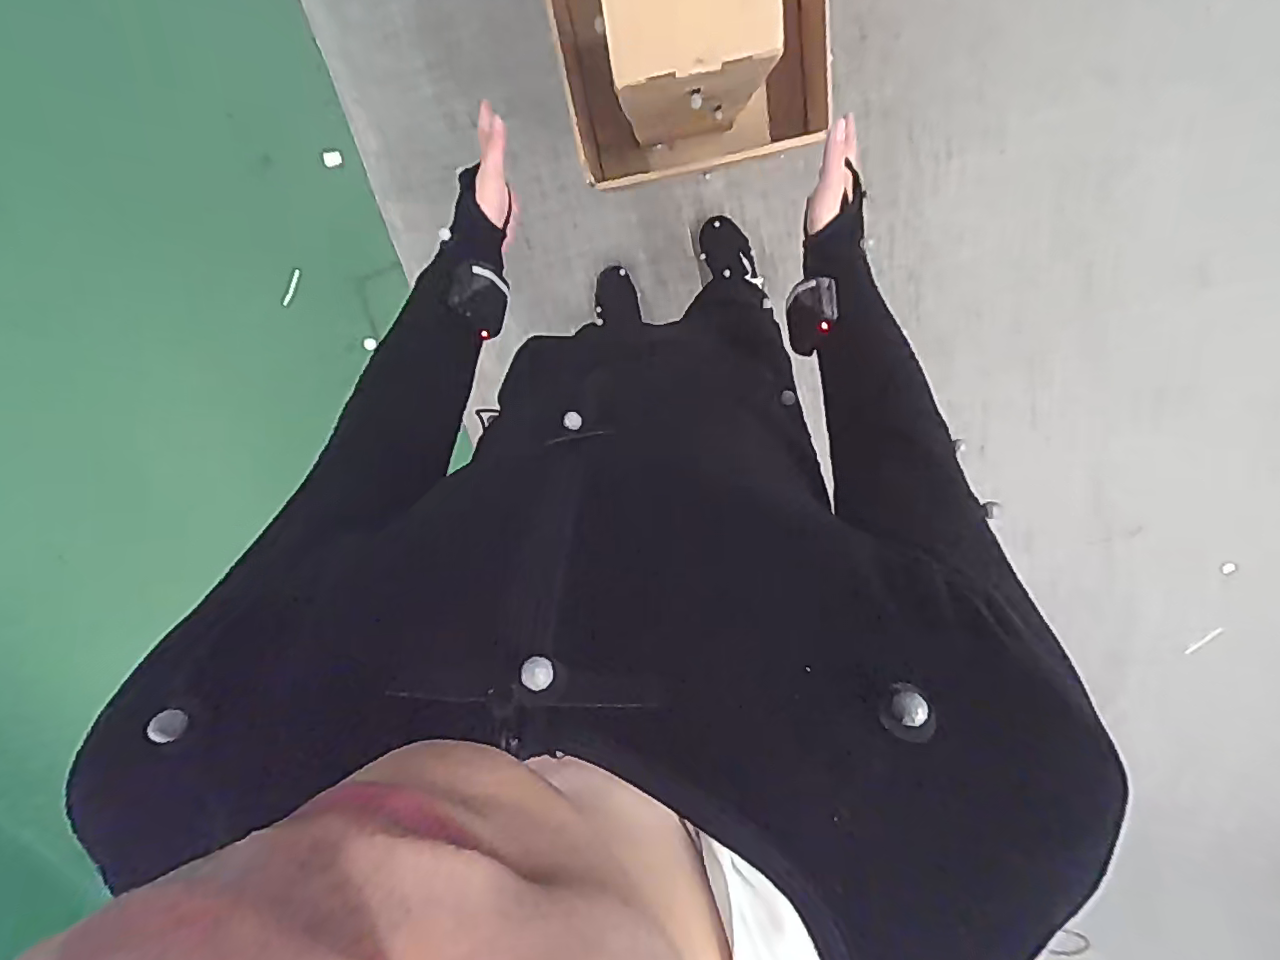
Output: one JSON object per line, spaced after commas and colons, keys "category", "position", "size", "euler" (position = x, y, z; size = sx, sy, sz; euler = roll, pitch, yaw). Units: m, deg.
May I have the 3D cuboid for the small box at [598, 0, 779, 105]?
{"category": "small box", "position": [0.044, -0.506, 0.552], "size": [0.168, 0.176, 0.179], "euler": [-7, 115, 7]}

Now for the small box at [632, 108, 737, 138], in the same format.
{"category": "small box", "position": [0.064, -0.652, 0.843], "size": [0.168, 0.176, 0.179], "euler": [-8, 114, 8]}

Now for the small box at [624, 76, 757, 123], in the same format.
{"category": "small box", "position": [0.056, -0.581, 0.697], "size": [0.168, 0.176, 0.179], "euler": [-6, 114, 7]}
